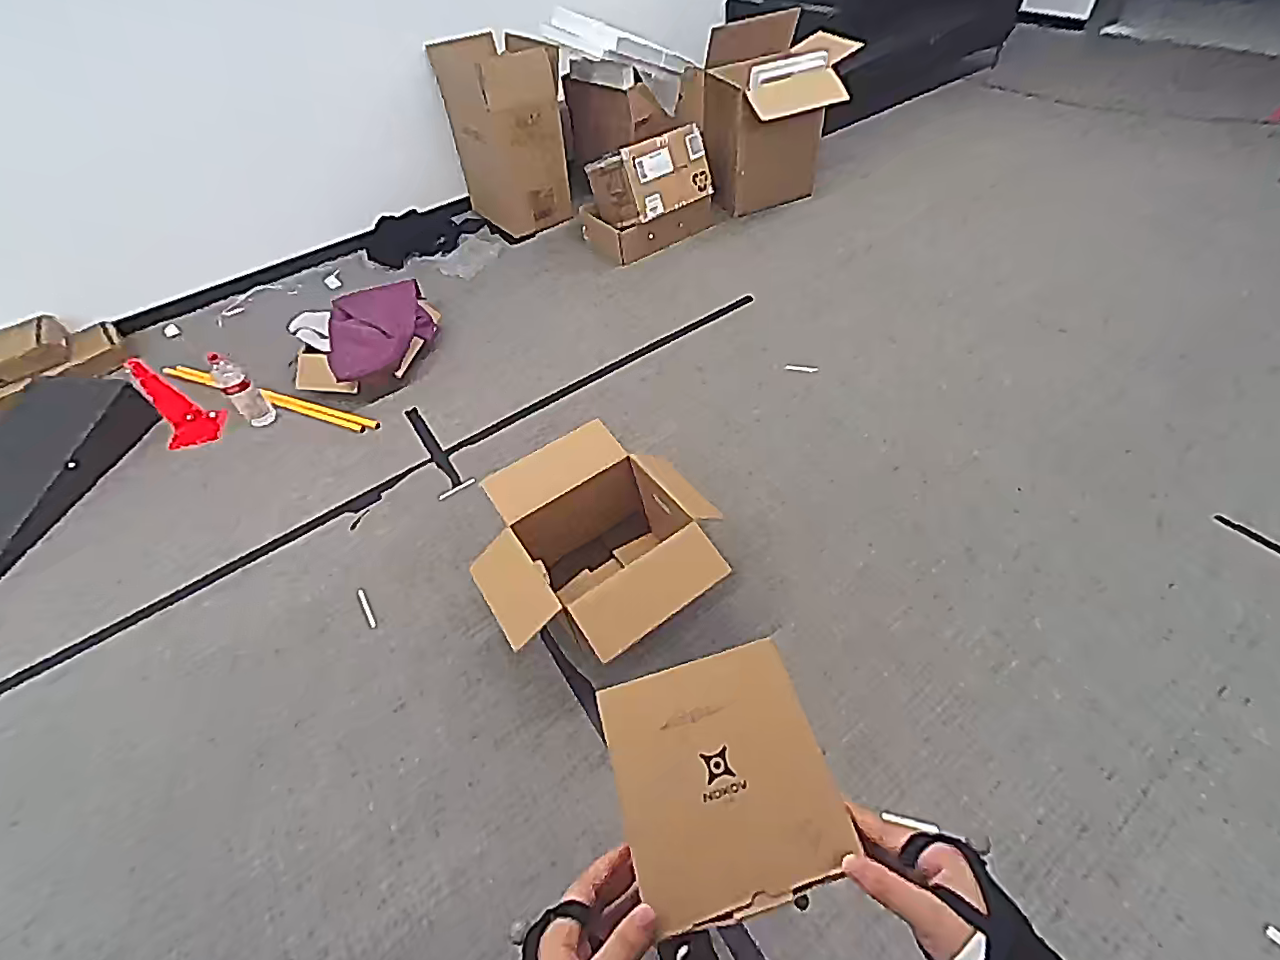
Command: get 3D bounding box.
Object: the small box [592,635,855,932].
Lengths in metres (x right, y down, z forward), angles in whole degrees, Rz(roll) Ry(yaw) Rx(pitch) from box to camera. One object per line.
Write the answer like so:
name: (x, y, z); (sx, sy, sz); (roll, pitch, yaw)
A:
small box: (0.066, 0.273, 0.496); (0.168, 0.176, 0.179); (-16, 54, -6)
